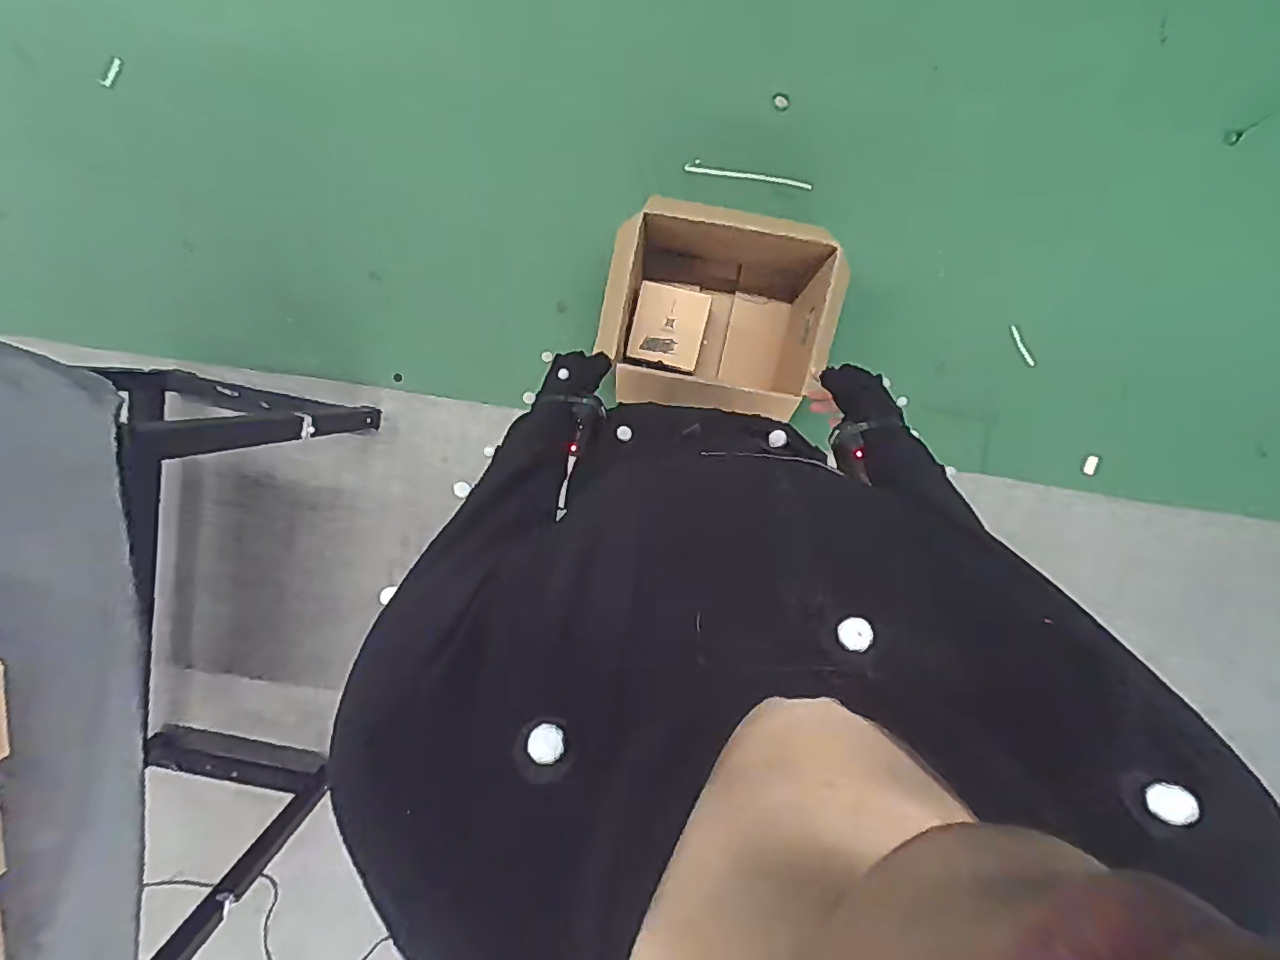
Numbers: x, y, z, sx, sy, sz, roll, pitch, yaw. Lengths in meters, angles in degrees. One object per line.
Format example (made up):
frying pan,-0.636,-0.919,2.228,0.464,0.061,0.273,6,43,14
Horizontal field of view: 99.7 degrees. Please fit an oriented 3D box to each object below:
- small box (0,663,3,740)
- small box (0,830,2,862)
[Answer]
small box,-1.066,0.346,0.759,0.179,0.176,0.168,8,100,1
small box,-1.124,0.559,0.797,0.179,0.176,0.168,7,101,1
